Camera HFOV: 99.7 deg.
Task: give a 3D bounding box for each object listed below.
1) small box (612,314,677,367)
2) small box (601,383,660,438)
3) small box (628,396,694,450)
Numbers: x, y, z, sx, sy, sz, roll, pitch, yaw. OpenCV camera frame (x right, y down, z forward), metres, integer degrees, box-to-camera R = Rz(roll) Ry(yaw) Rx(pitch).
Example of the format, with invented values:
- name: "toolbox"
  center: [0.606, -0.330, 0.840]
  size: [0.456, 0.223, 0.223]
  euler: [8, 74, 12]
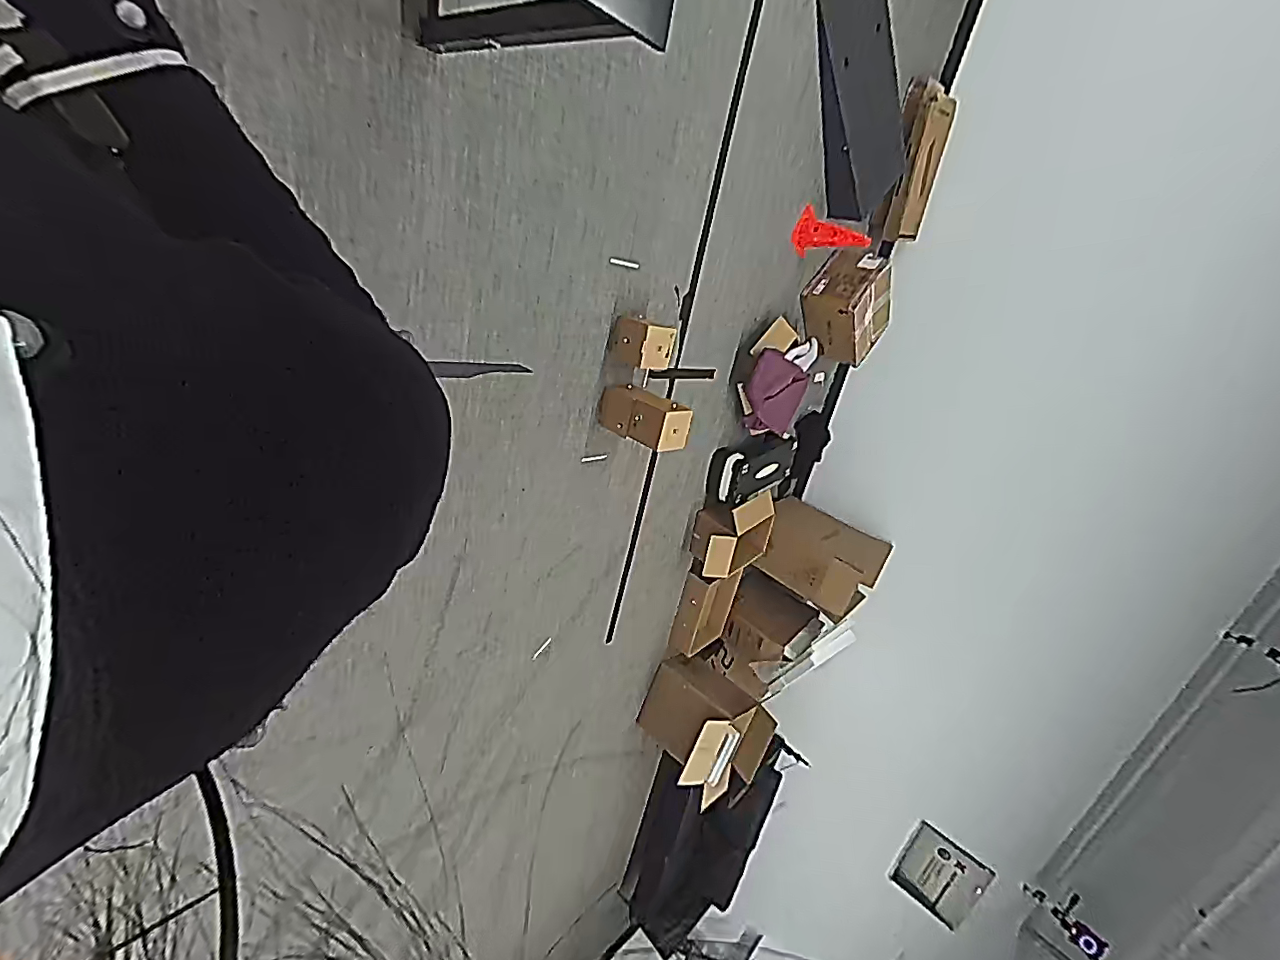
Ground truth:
- name: "small box"
  center: [0.012, -0.550, 2.129]
  size: [0.179, 0.176, 0.168]
  euler: [-10, 122, -48]
- name: "small box"
  center: [-0.044, -0.294, 2.246]
  size: [0.168, 0.176, 0.179]
  euler: [-15, 126, -47]
- name: "small box"
  center: [0.081, -0.233, 2.161]
  size: [0.179, 0.176, 0.168]
  euler: [-11, 122, -46]
